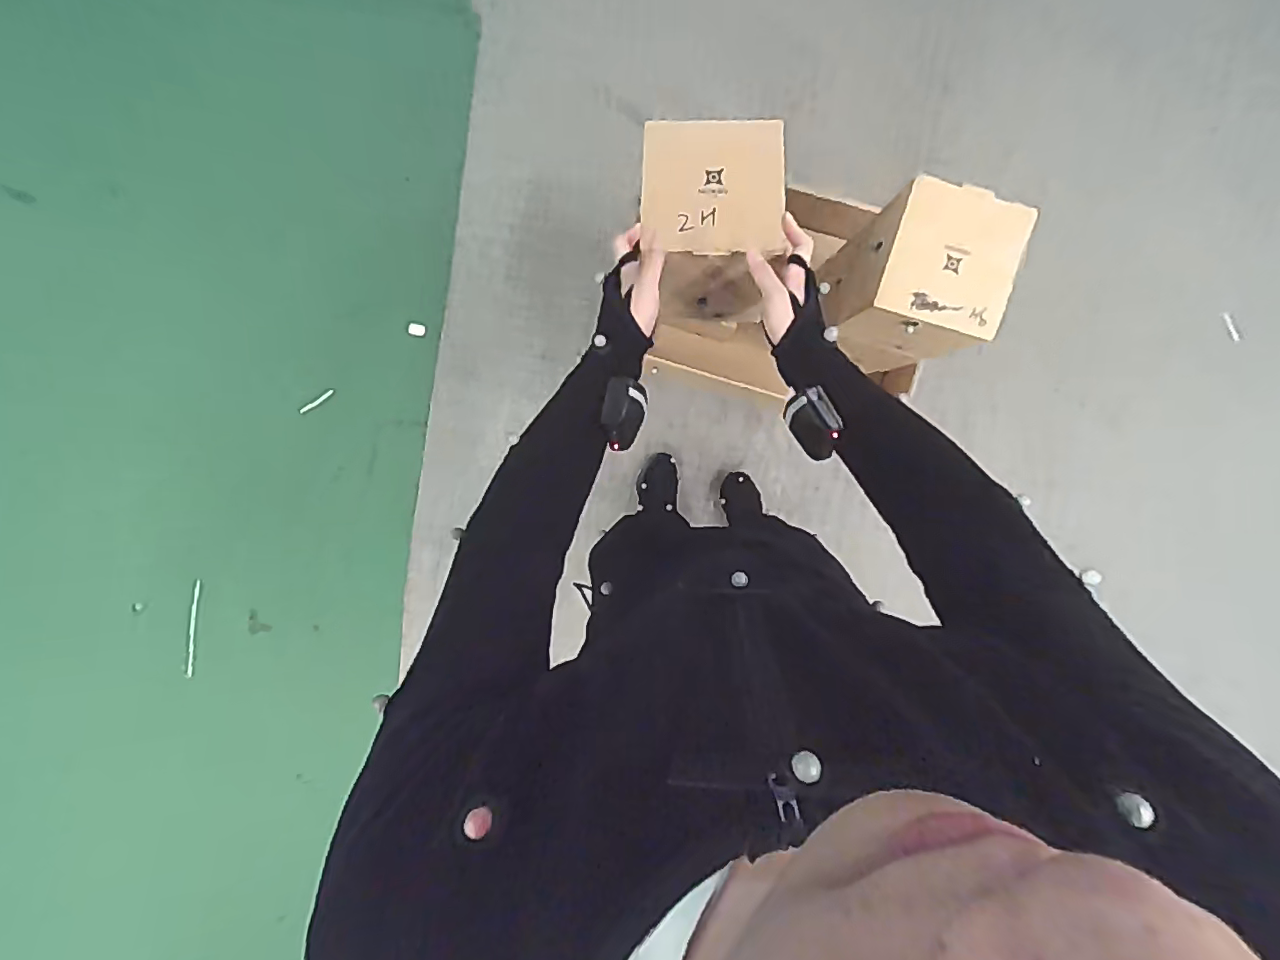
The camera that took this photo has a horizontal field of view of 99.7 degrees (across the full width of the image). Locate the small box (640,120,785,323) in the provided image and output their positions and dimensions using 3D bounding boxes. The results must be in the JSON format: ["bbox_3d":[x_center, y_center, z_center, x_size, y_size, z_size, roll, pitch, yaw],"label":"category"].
[{"bbox_3d":[0.085,-0.323,0.698,0.168,0.176,0.179,1,80,3],"label":"small box"}]

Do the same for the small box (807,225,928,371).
[{"bbox_3d":[0.410,-0.303,0.938,0.168,0.176,0.179,18,95,0],"label":"small box"}]

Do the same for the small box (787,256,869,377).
[{"bbox_3d":[0.413,-0.320,1.099,0.168,0.176,0.179,18,94,-1],"label":"small box"}]

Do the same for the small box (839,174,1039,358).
[{"bbox_3d":[0.409,-0.290,0.774,0.168,0.176,0.179,17,94,1],"label":"small box"}]
